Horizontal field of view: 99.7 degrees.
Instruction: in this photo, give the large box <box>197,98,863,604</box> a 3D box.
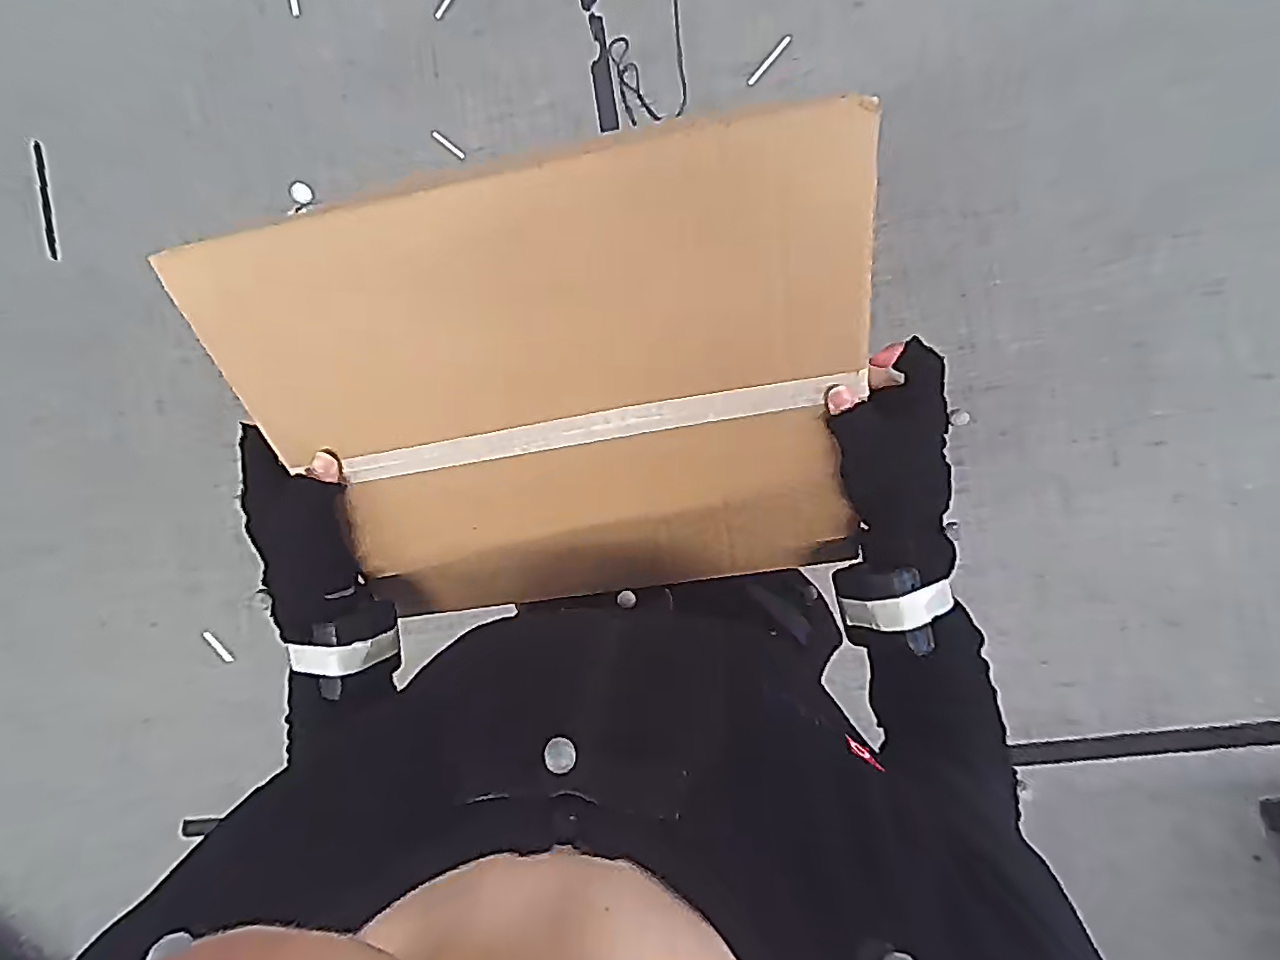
[{"bbox_3d":[-0.049,-0.124,0.507,0.408,0.320,0.320,-9,125,7],"label":"large box"}]
